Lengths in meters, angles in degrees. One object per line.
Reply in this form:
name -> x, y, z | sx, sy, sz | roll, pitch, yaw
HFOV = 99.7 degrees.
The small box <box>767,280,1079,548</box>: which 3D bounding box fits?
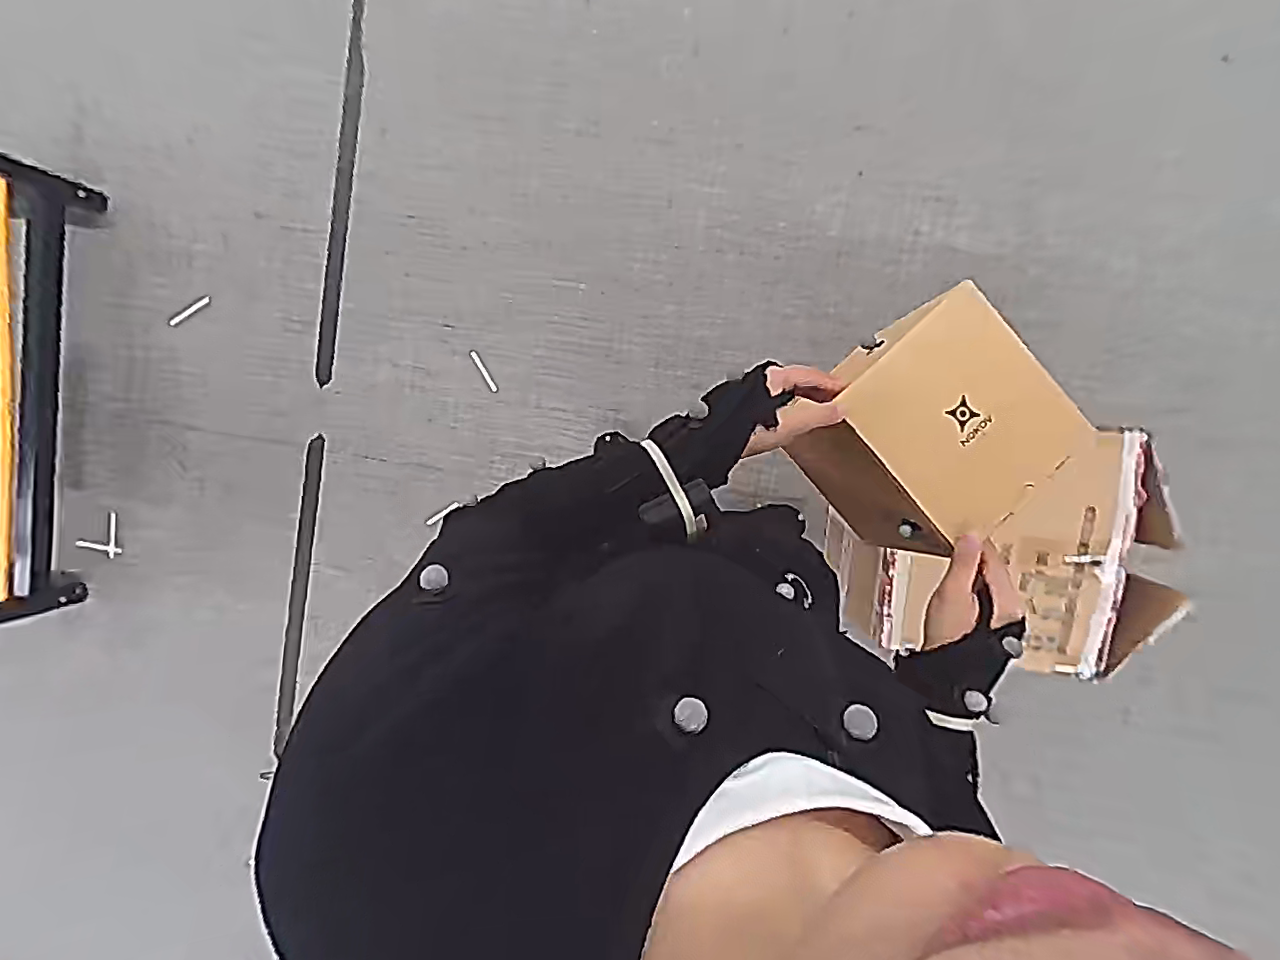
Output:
small box -> 0.257, -0.053, 0.536 | 0.168, 0.176, 0.179 | -42, 93, -6
